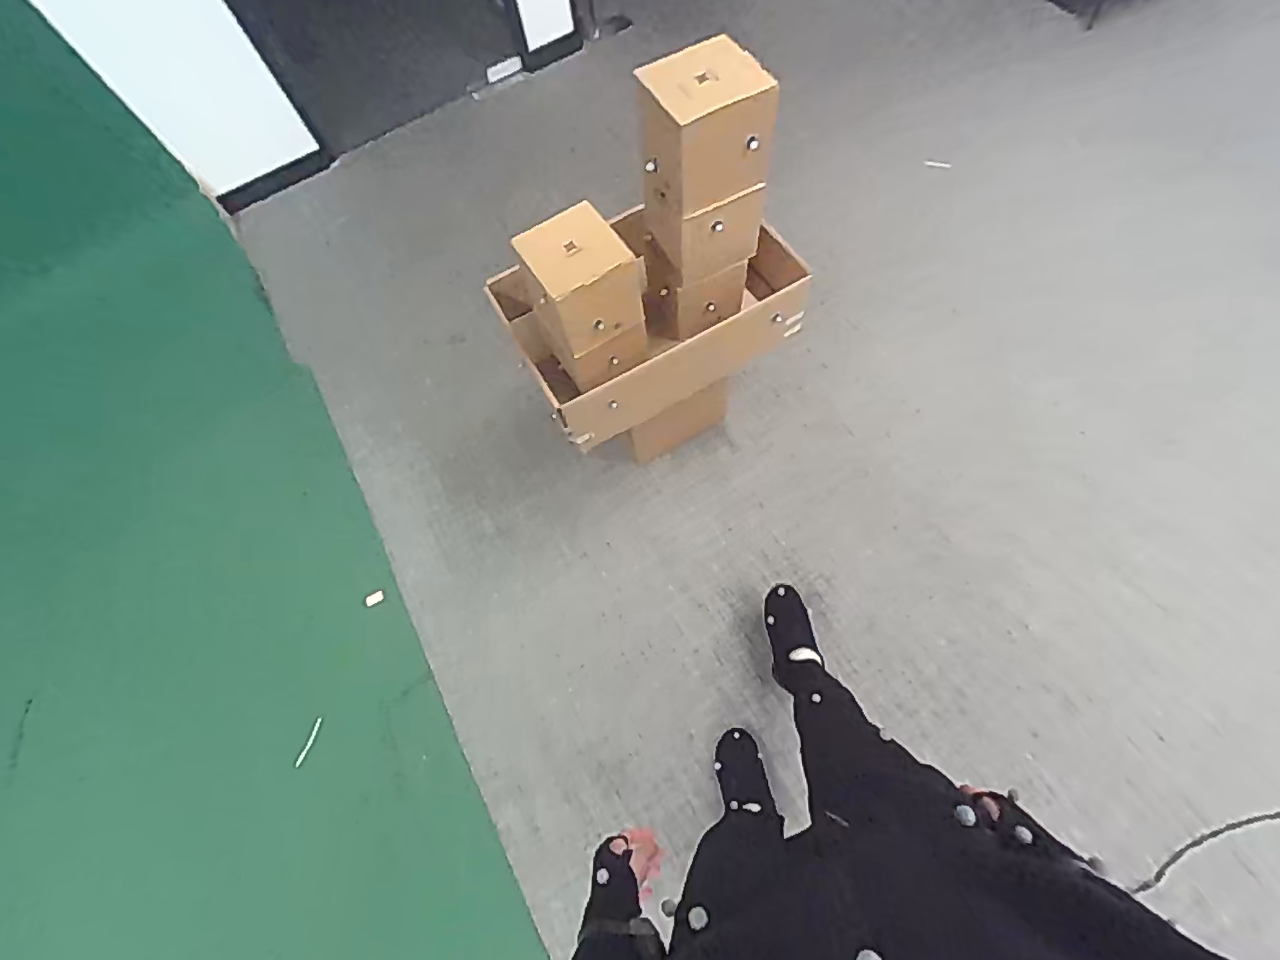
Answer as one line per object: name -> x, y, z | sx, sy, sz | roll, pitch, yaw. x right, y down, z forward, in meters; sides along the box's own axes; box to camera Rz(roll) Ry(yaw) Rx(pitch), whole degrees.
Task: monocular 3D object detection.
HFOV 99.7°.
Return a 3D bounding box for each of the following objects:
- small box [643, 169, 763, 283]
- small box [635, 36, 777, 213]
small box -> 0.123, -0.528, 1.074 | 0.179, 0.176, 0.168 | -26, 67, -6
small box -> 0.108, -0.603, 0.930 | 0.179, 0.176, 0.168 | -27, 66, -5
